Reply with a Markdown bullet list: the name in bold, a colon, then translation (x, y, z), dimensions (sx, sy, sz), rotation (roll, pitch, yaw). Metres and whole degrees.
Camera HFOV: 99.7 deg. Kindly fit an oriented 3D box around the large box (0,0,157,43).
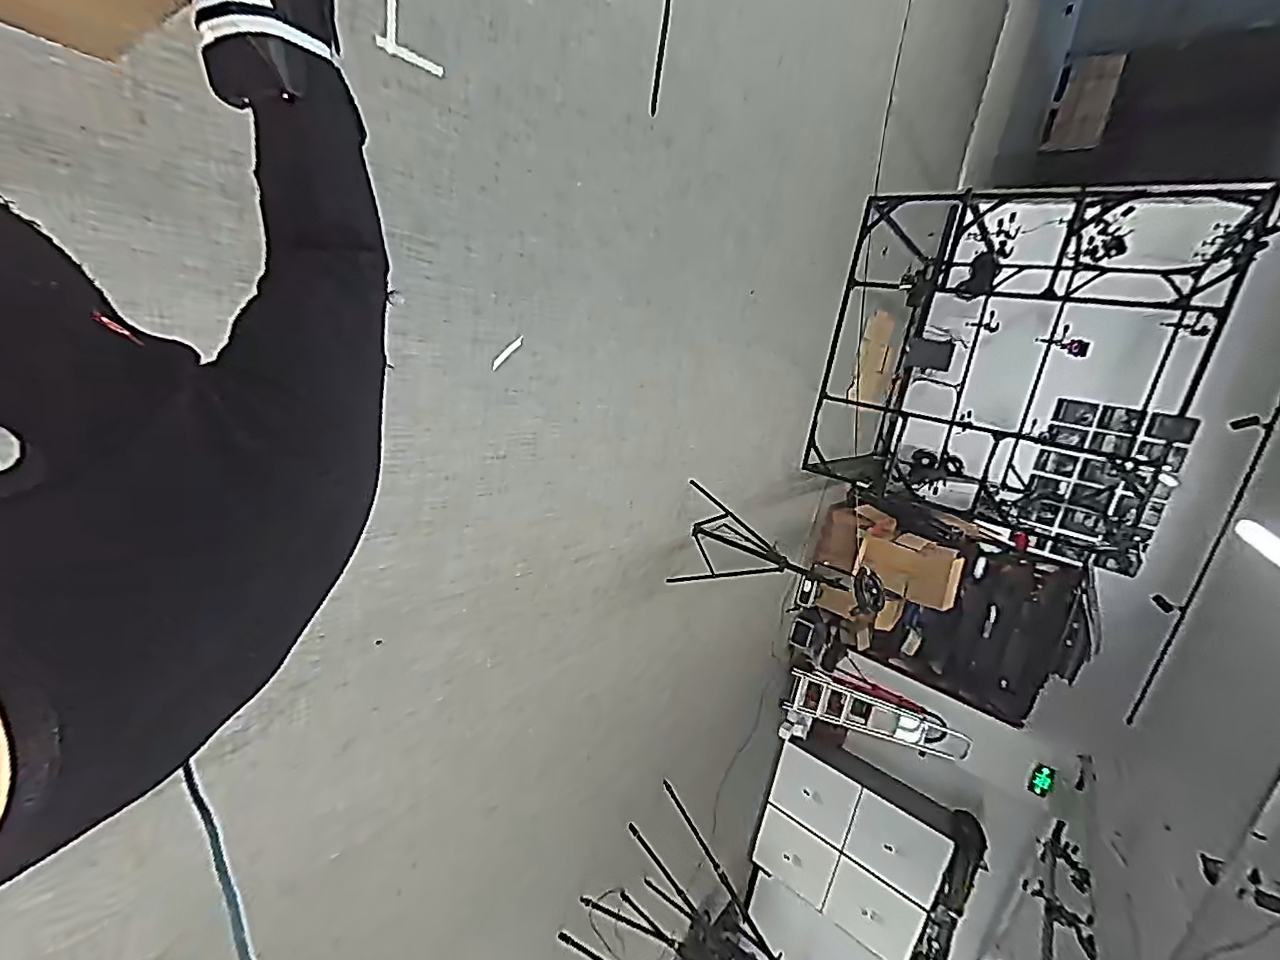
- **large box**: translation (-0.493, -0.499, 0.243), dimensions (0.408, 0.320, 0.320), rotation (-10, 113, -53)
